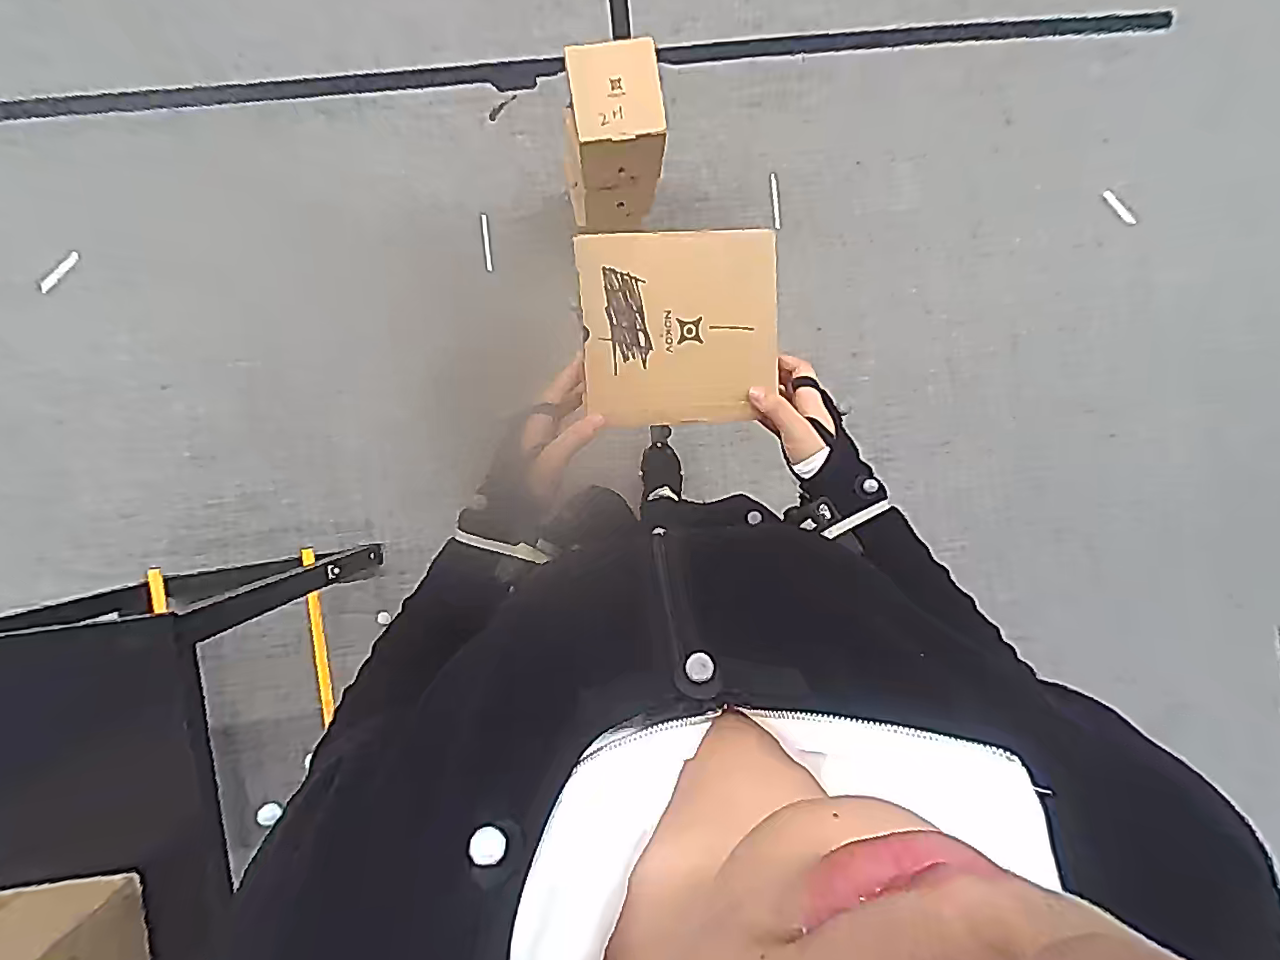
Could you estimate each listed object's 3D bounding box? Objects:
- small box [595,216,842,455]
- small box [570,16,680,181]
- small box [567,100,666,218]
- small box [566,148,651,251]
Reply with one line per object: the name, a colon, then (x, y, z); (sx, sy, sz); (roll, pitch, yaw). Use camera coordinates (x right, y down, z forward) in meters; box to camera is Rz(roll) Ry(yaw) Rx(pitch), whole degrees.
small box: (0.055, -0.111, 0.469); (0.179, 0.176, 0.168); (-4, 97, -4)
small box: (-0.030, -0.679, 0.980); (0.168, 0.176, 0.179); (-10, 93, -3)
small box: (-0.049, -0.680, 1.145); (0.168, 0.176, 0.179); (-14, 93, -3)
small box: (-0.078, -0.683, 1.308); (0.168, 0.176, 0.179); (-13, 94, -3)
